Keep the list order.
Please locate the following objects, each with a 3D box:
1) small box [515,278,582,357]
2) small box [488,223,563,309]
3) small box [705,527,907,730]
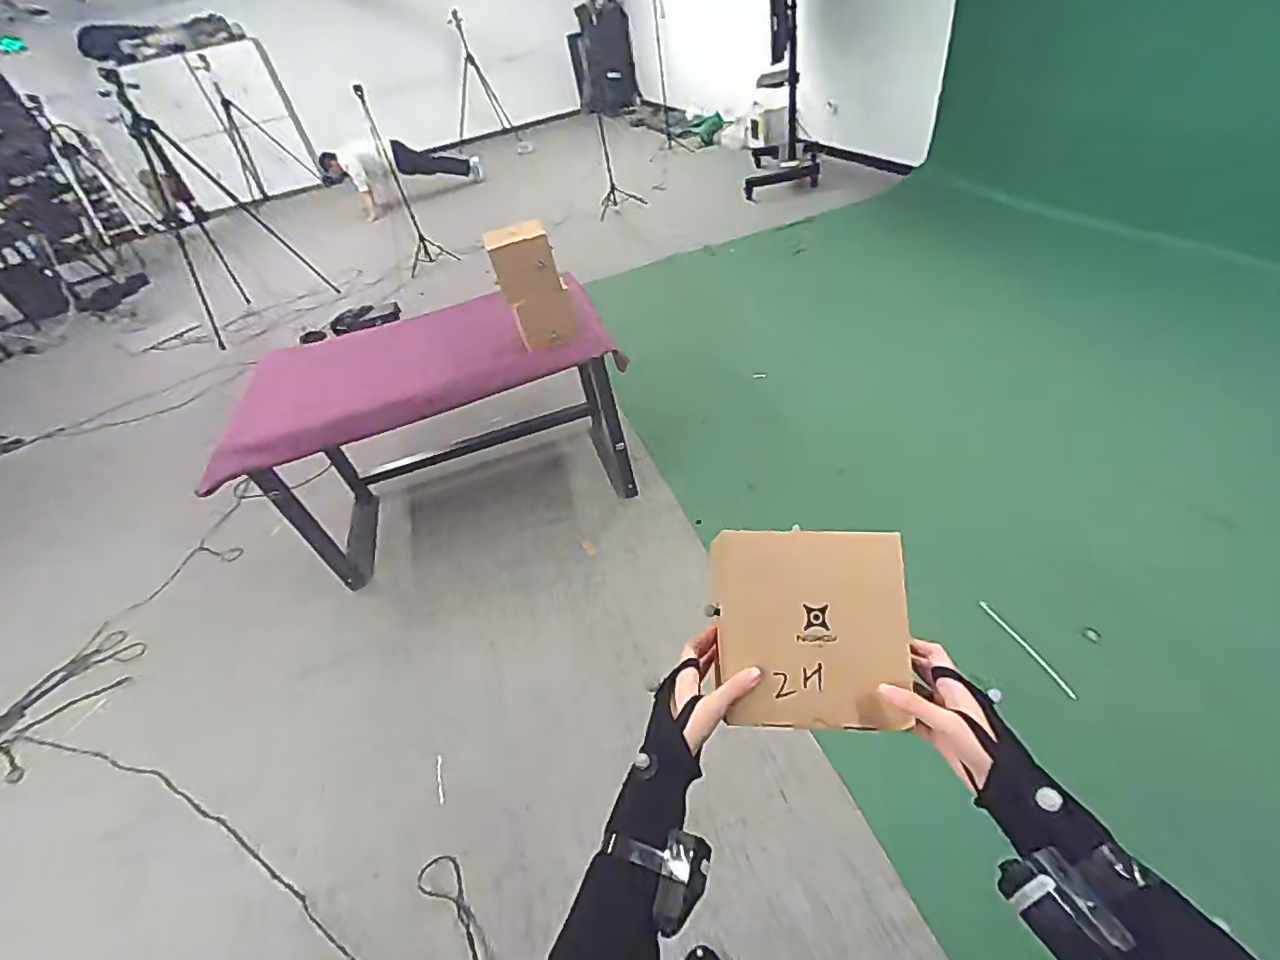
[{"bbox_3d":[-0.295,-0.519,1.722,0.179,0.176,0.168,-22,42,-9],"label":"small box"},{"bbox_3d":[-0.338,-0.639,1.619,0.179,0.176,0.168,-19,42,-4],"label":"small box"},{"bbox_3d":[0.156,0.148,0.568,0.168,0.176,0.179,0,78,4],"label":"small box"}]
